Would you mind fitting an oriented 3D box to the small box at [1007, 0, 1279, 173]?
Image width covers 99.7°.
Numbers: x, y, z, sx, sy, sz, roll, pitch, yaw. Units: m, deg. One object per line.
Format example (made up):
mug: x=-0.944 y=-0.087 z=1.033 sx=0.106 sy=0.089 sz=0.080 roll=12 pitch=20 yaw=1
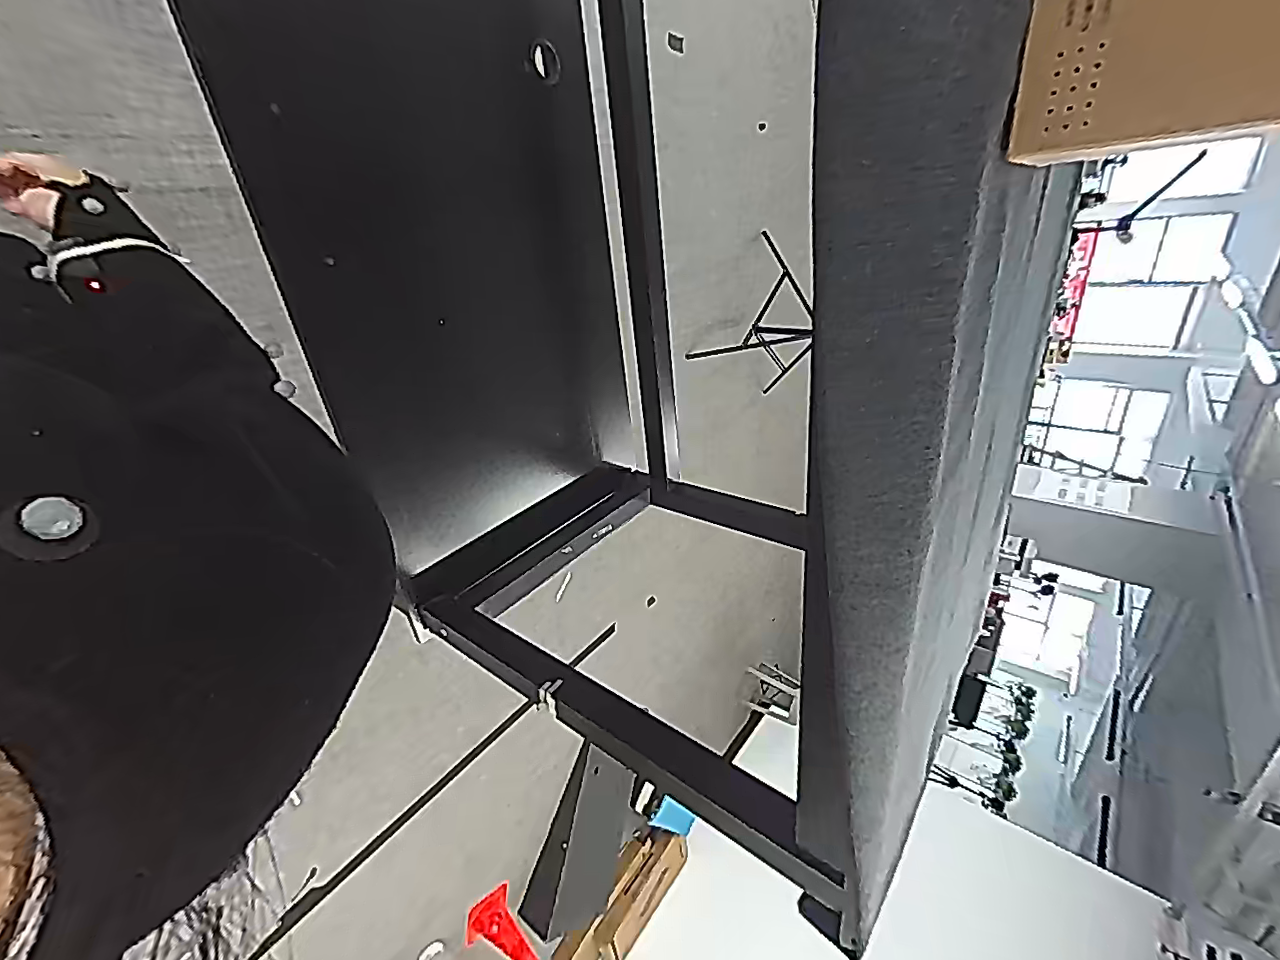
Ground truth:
small box: x=0.268 y=-0.231 z=0.223 sx=0.179 sy=0.176 sz=0.168 roll=-34 pitch=127 yaw=-45
